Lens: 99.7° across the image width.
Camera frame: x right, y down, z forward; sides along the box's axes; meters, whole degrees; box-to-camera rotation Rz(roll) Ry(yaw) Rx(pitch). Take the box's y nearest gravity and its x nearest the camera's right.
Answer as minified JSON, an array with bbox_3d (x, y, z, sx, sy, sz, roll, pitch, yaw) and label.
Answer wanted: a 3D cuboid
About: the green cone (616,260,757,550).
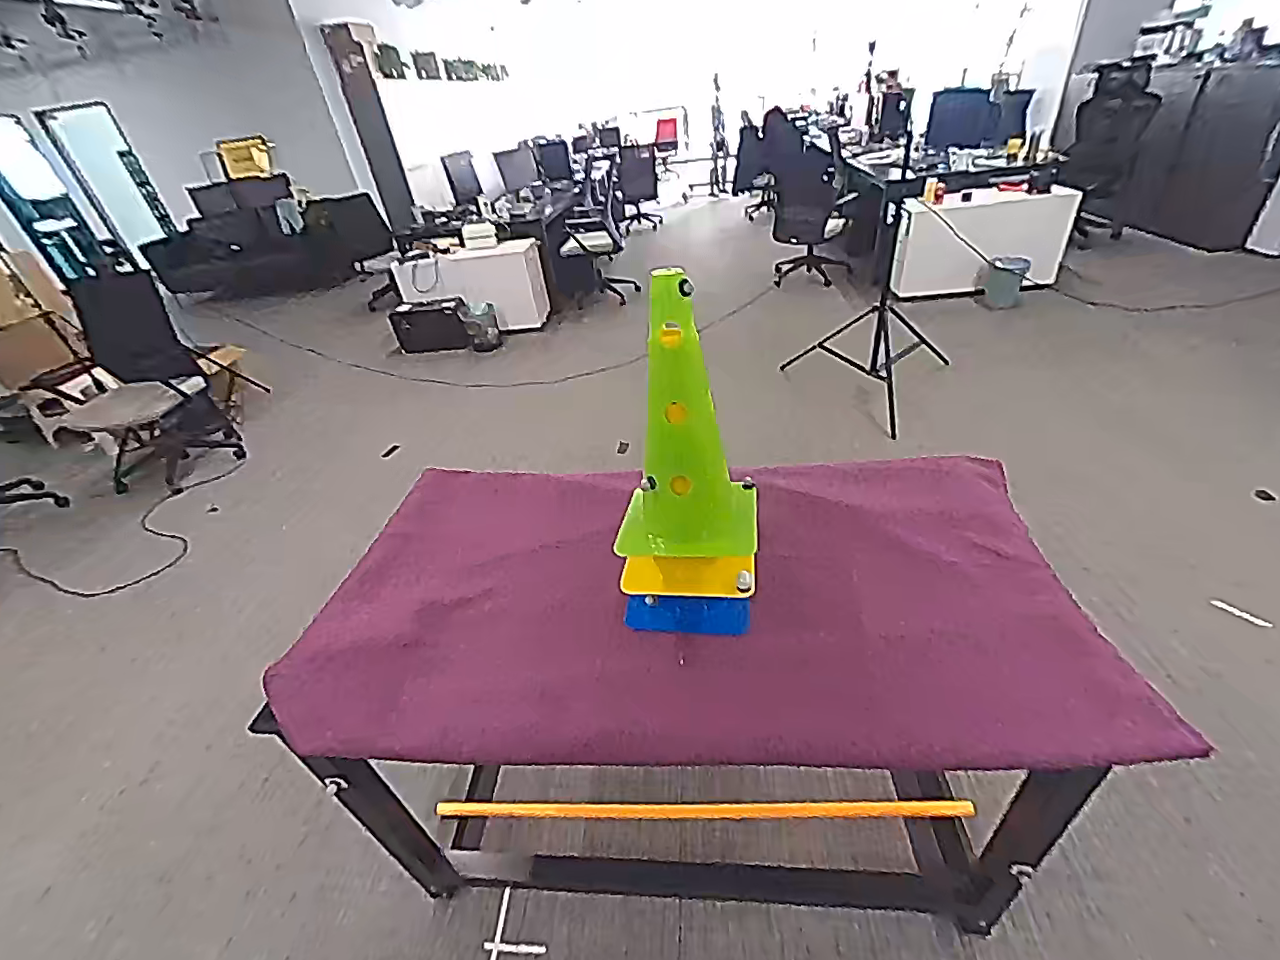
[{"bbox_3d":[0.051,-0.105,0.738,0.200,0.368,0.202,-2,29,12],"label":"green cone"}]
